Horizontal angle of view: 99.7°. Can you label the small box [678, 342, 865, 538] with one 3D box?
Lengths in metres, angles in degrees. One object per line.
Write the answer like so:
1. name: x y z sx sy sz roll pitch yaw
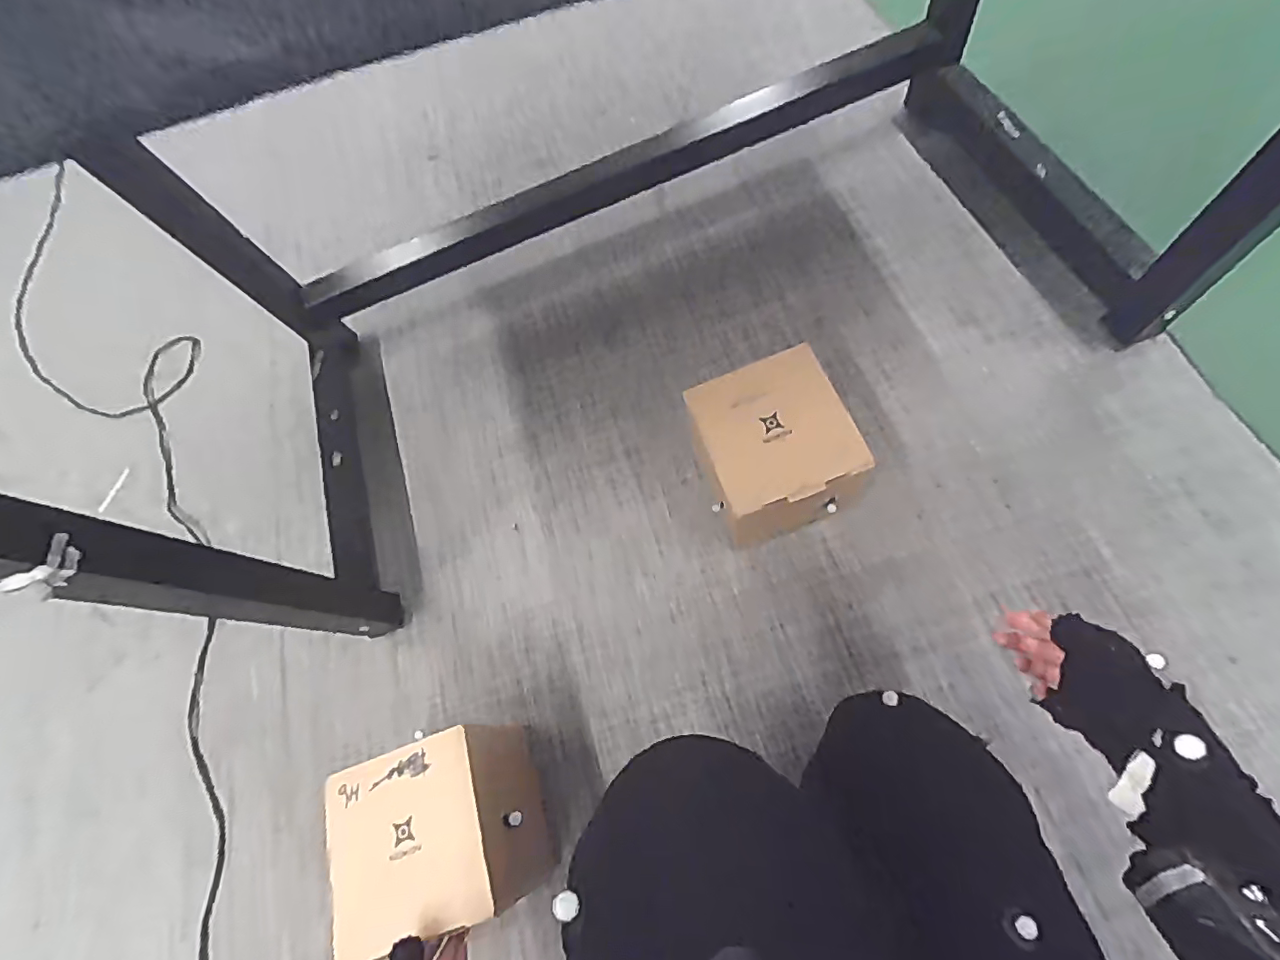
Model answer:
1. small box: 0.163 -0.038 0.701 0.168 0.176 0.179 -22 66 2
